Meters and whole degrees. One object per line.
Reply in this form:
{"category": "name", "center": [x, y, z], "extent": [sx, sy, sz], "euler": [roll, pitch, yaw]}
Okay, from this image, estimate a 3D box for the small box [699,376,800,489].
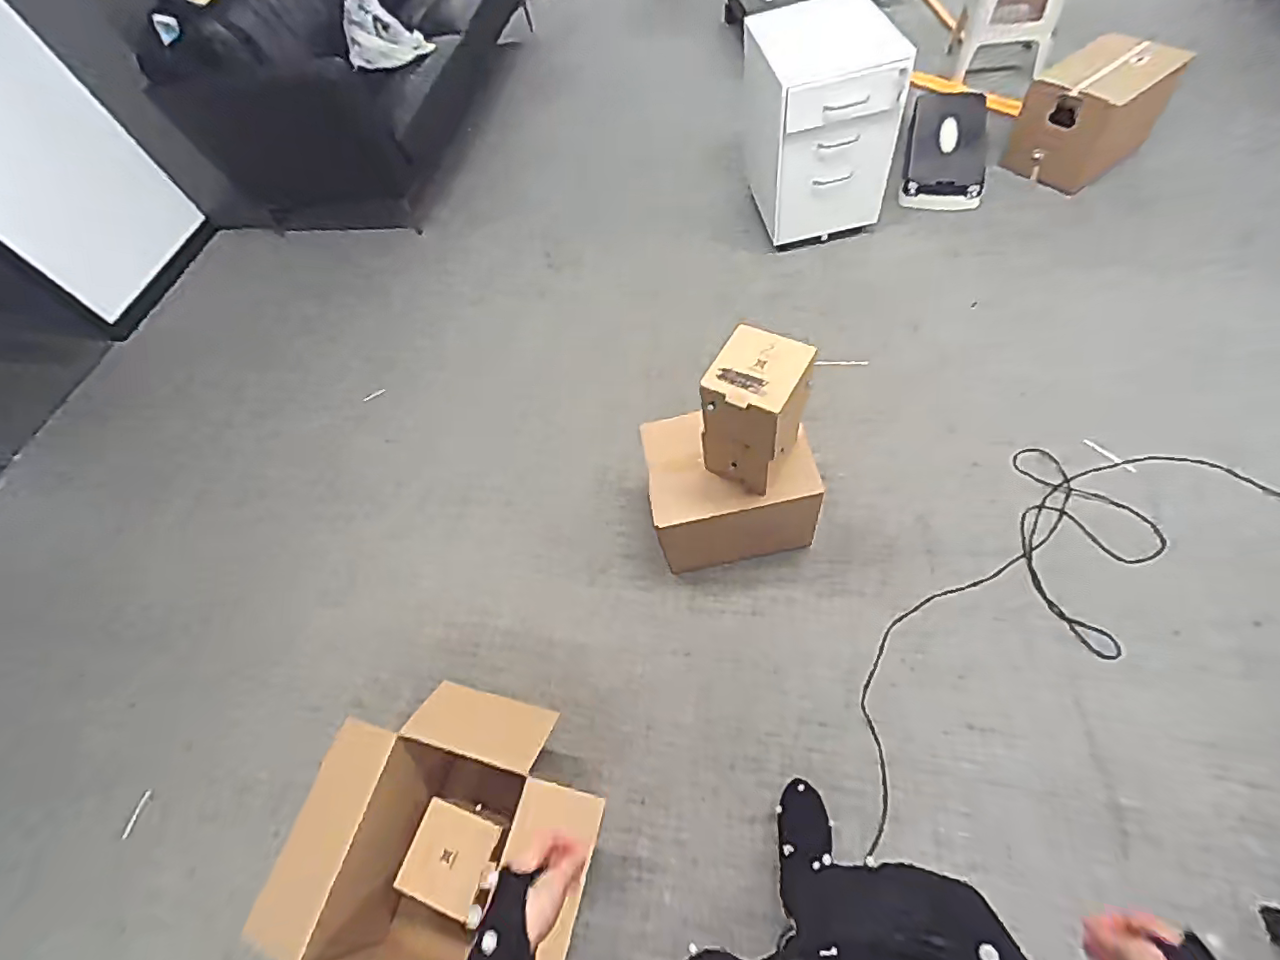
{"category": "small box", "center": [0.257, -0.105, 1.260], "extent": [0.168, 0.176, 0.179], "euler": [25, 69, 23]}
